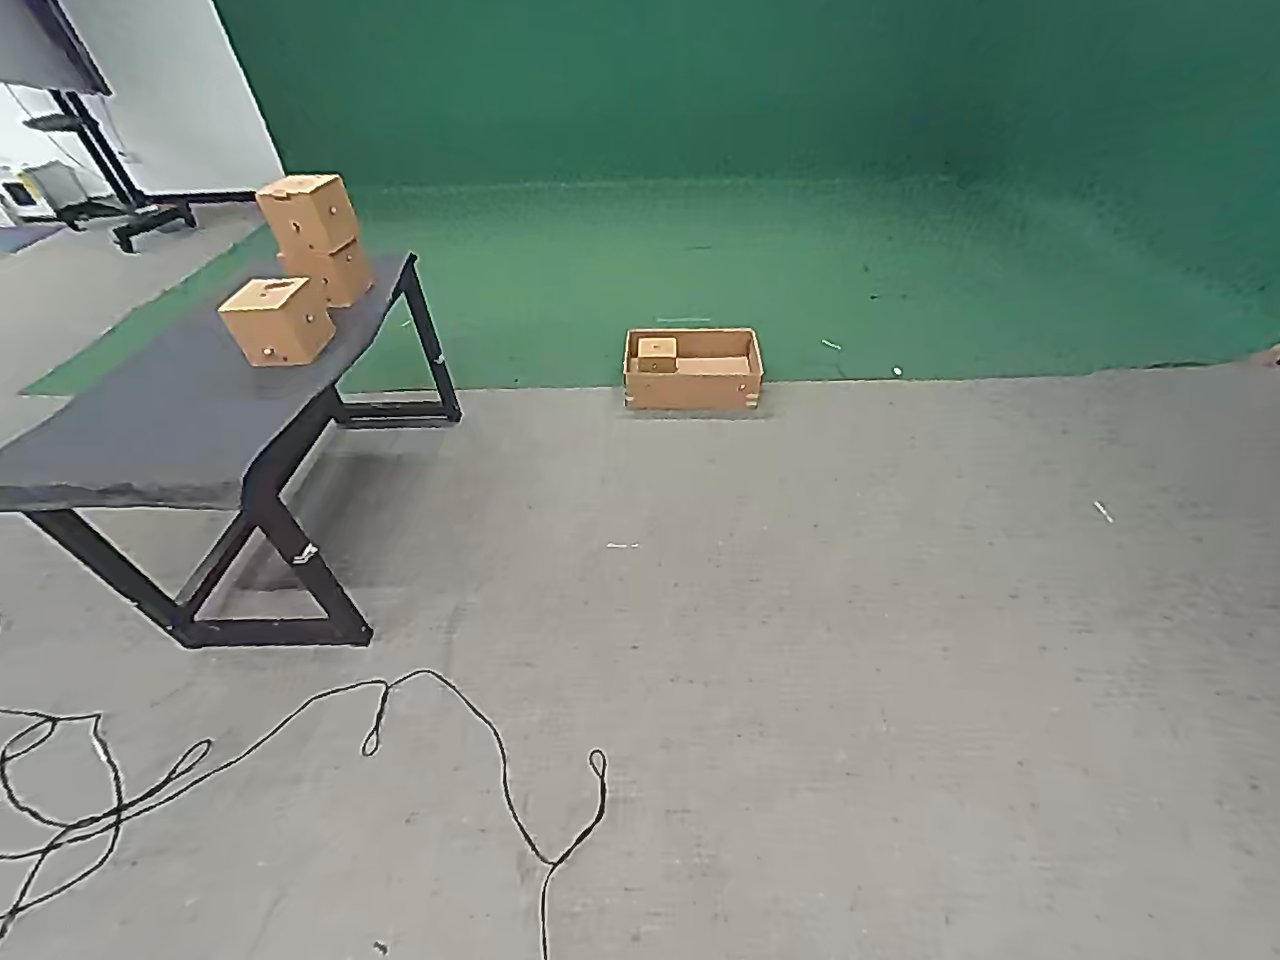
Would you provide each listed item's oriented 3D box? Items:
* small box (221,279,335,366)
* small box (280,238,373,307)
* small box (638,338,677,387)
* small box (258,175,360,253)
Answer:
[{"bbox_3d":[-0.963,-0.426,1.463,0.168,0.176,0.179,-2,45,3],"label":"small box"},{"bbox_3d":[-0.979,-0.660,1.709,0.168,0.176,0.179,2,43,4],"label":"small box"},{"bbox_3d":[0.083,-0.546,2.525,0.179,0.176,0.168,1,45,2],"label":"small box"},{"bbox_3d":[-0.968,-0.786,1.603,0.168,0.176,0.179,3,45,6],"label":"small box"}]
